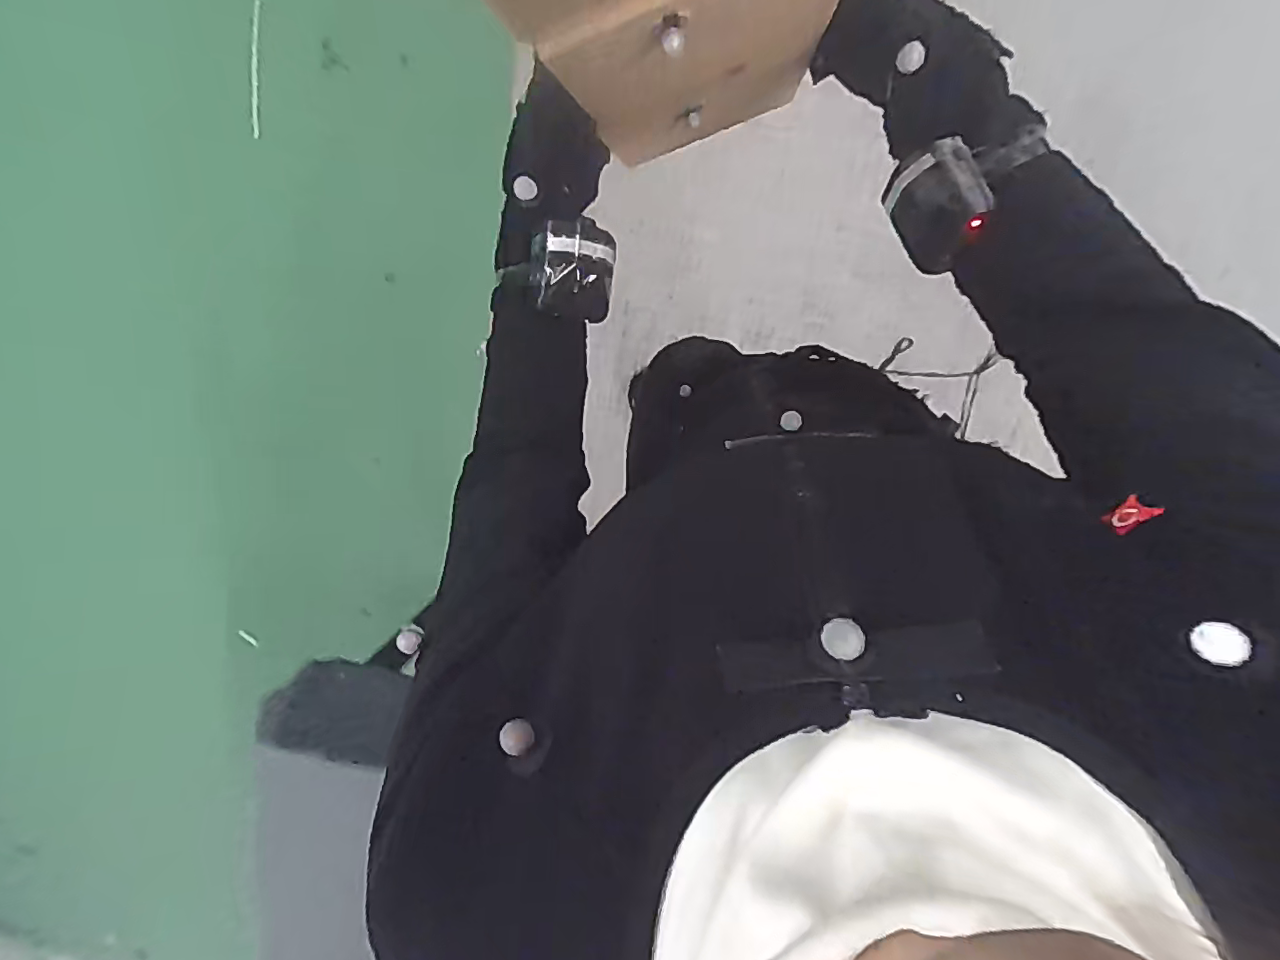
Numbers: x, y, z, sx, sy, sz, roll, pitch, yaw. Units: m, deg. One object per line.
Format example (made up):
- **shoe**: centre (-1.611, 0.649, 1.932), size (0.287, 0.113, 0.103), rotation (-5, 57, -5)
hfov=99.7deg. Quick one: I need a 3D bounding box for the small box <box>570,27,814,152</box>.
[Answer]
- **small box**: centre (0.034, -0.403, 0.453), size (0.179, 0.176, 0.168), rotation (-14, 109, 13)
